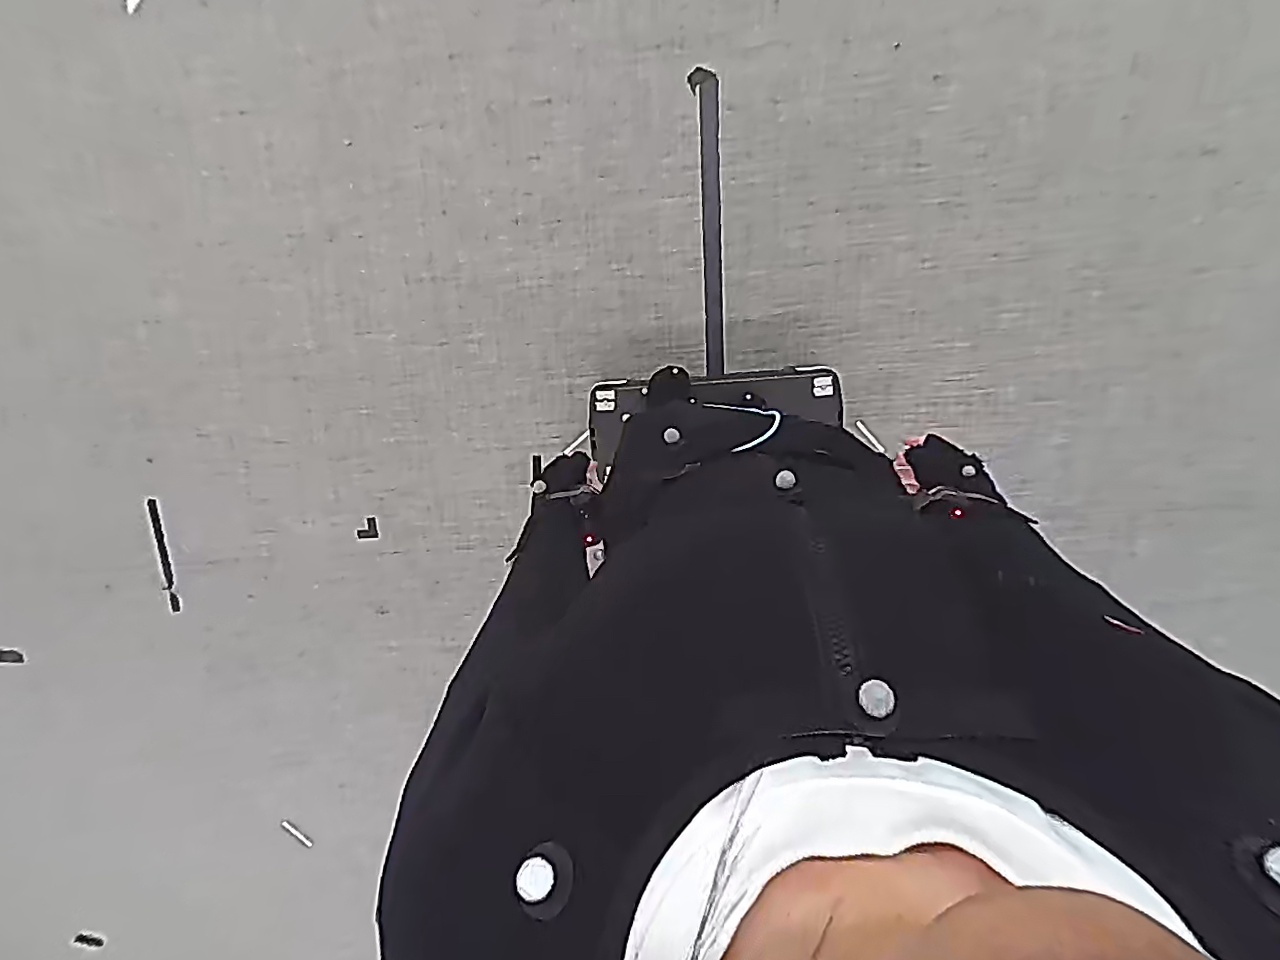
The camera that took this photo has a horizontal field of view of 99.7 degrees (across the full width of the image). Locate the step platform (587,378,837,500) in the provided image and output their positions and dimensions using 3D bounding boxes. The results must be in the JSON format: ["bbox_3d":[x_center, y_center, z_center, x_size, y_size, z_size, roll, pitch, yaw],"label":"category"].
[{"bbox_3d":[0.193,-0.115,1.523,0.684,0.204,0.286,-5,102,4],"label":"step platform"}]
